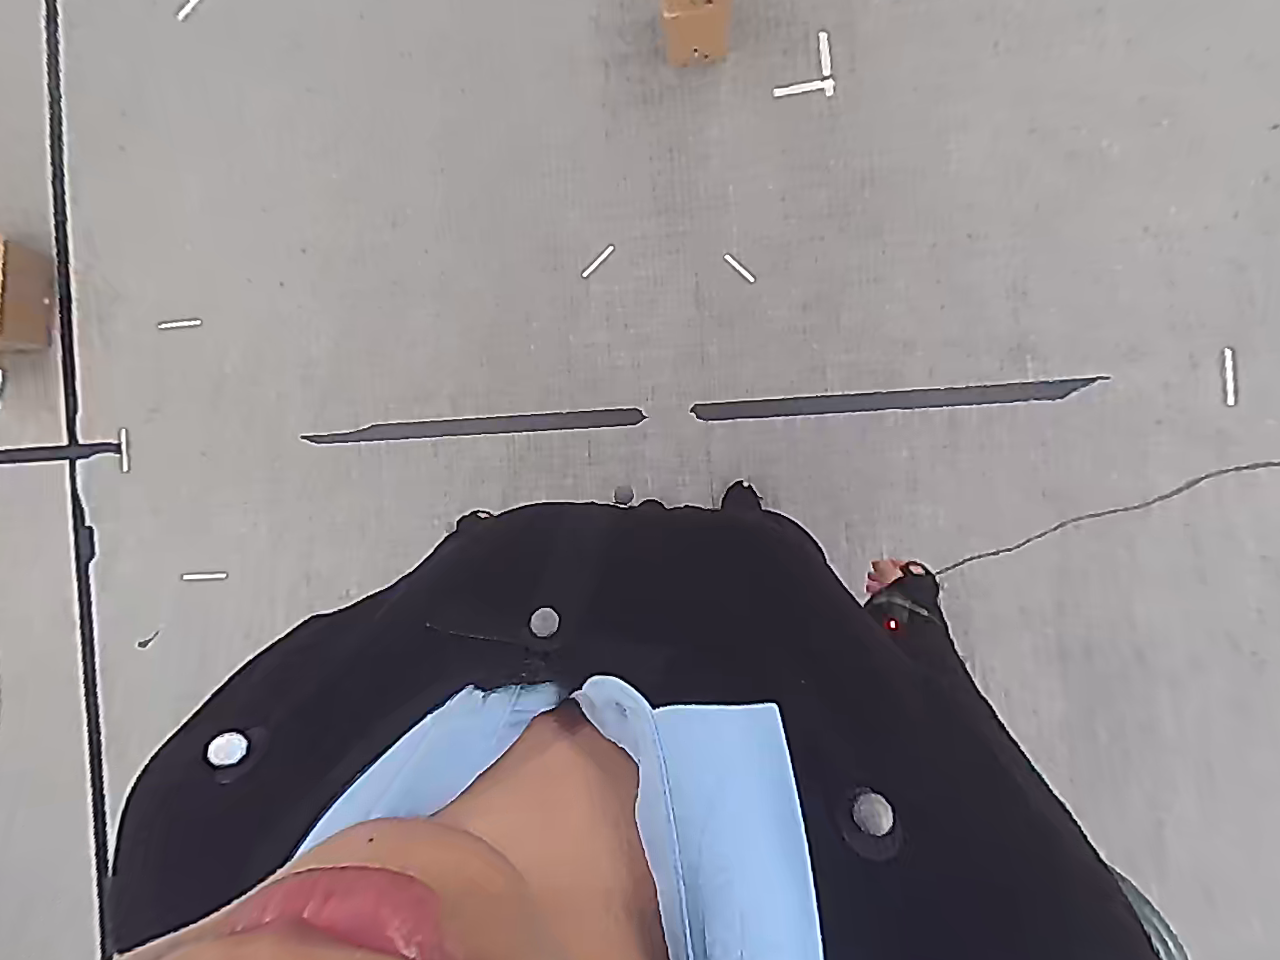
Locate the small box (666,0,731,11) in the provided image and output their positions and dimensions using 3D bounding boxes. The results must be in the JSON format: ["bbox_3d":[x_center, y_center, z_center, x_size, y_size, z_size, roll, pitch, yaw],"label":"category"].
[{"bbox_3d":[0.134,-1.247,1.251,0.168,0.176,0.179,0,90,9],"label":"small box"}]
